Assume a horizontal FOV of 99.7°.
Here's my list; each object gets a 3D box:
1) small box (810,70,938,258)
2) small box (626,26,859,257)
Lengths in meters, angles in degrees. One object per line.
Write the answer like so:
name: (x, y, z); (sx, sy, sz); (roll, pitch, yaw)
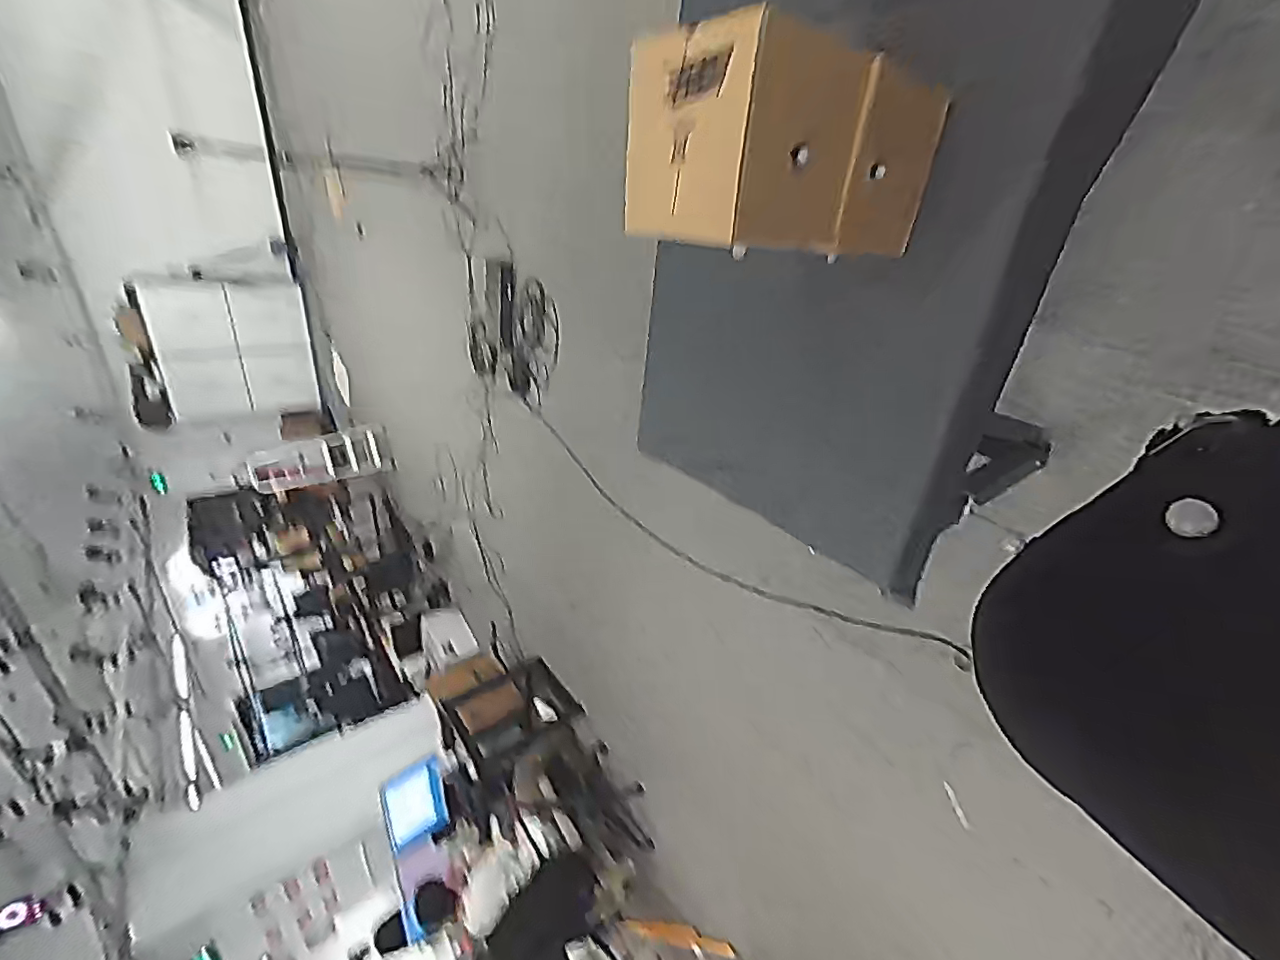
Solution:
small box: (0.234, -0.377, 0.668); (0.168, 0.176, 0.179); (32, 126, 41)
small box: (0.105, -0.340, 0.573); (0.168, 0.176, 0.179); (31, 128, 42)
